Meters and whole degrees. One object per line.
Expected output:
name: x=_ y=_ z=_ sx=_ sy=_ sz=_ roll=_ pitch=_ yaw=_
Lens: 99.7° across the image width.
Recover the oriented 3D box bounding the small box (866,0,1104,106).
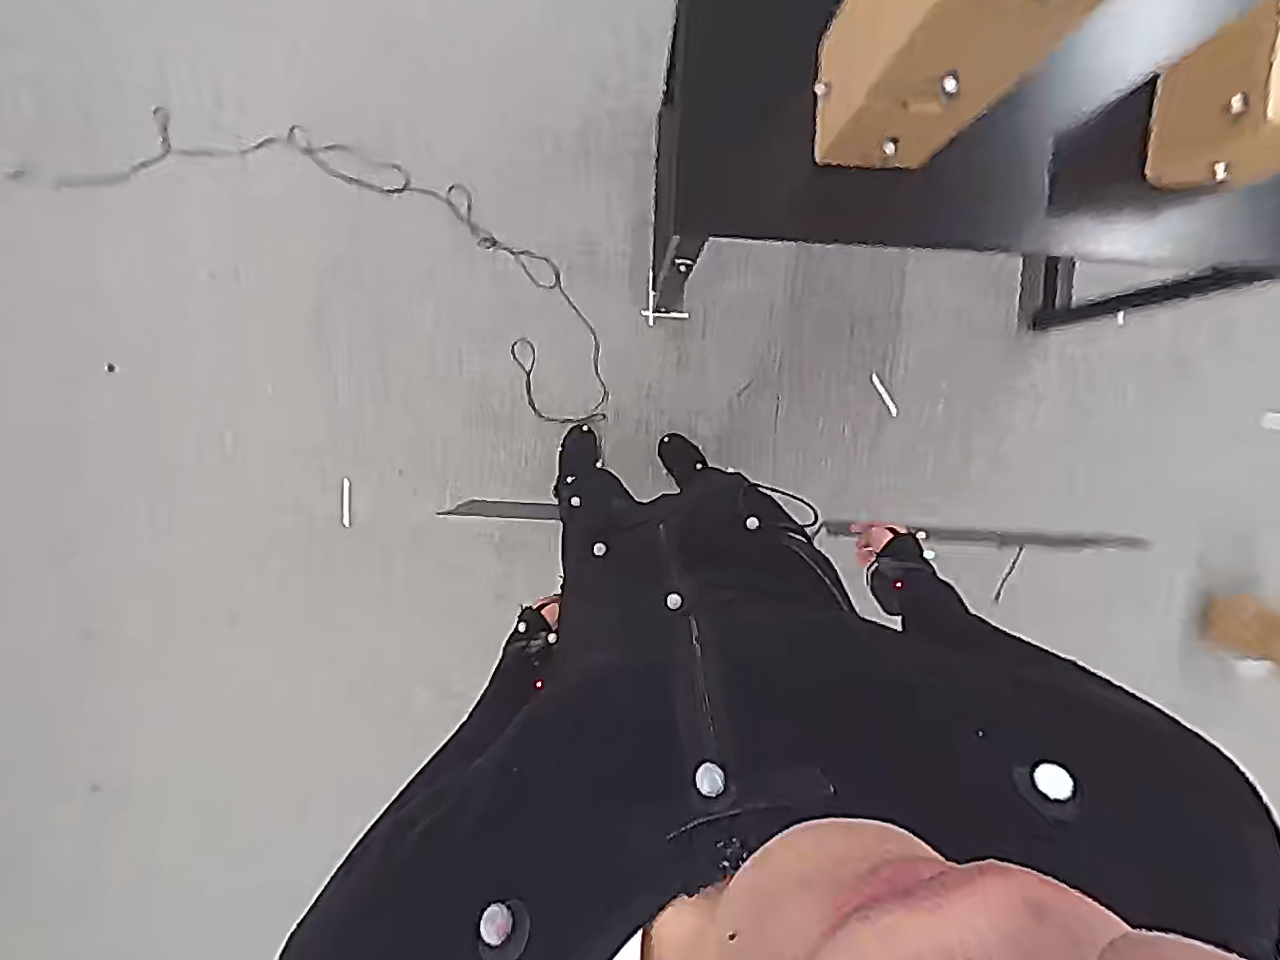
small box: x=0.364 y=-0.552 z=0.588 sx=0.168 sy=0.176 sz=0.179 roll=1 pitch=96 yaw=-2

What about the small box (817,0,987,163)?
small box: x=0.357 y=-0.567 z=0.752 sx=0.168 sy=0.176 sz=0.179 roll=0 pitch=96 yaw=-3

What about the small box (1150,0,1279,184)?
small box: x=0.893 y=-0.558 z=0.777 sx=0.168 sy=0.176 sz=0.179 roll=1 pitch=96 yaw=-2

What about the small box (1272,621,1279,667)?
small box: x=1.919 y=0.468 z=1.488 sx=0.168 sy=0.176 sz=0.179 roll=2 pitch=97 yaw=-3
